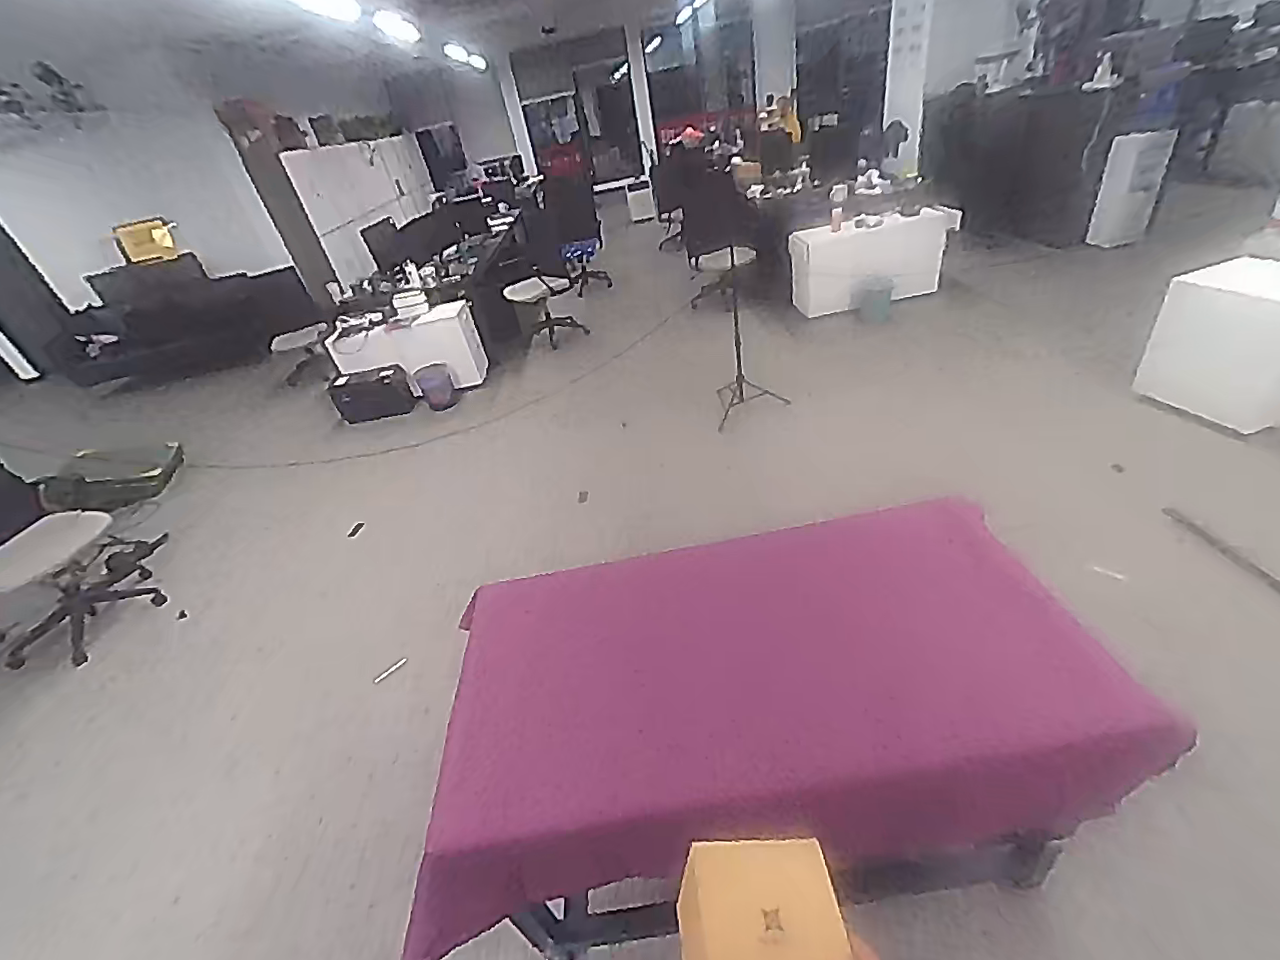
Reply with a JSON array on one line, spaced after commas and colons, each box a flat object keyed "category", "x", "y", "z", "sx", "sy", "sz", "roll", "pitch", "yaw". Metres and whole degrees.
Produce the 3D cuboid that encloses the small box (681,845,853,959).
[{"category": "small box", "x": 0.145, "y": 0.574, "z": 0.647, "sx": 0.168, "sy": 0.176, "sz": 0.179, "roll": 2, "pitch": 32, "yaw": -4}]
